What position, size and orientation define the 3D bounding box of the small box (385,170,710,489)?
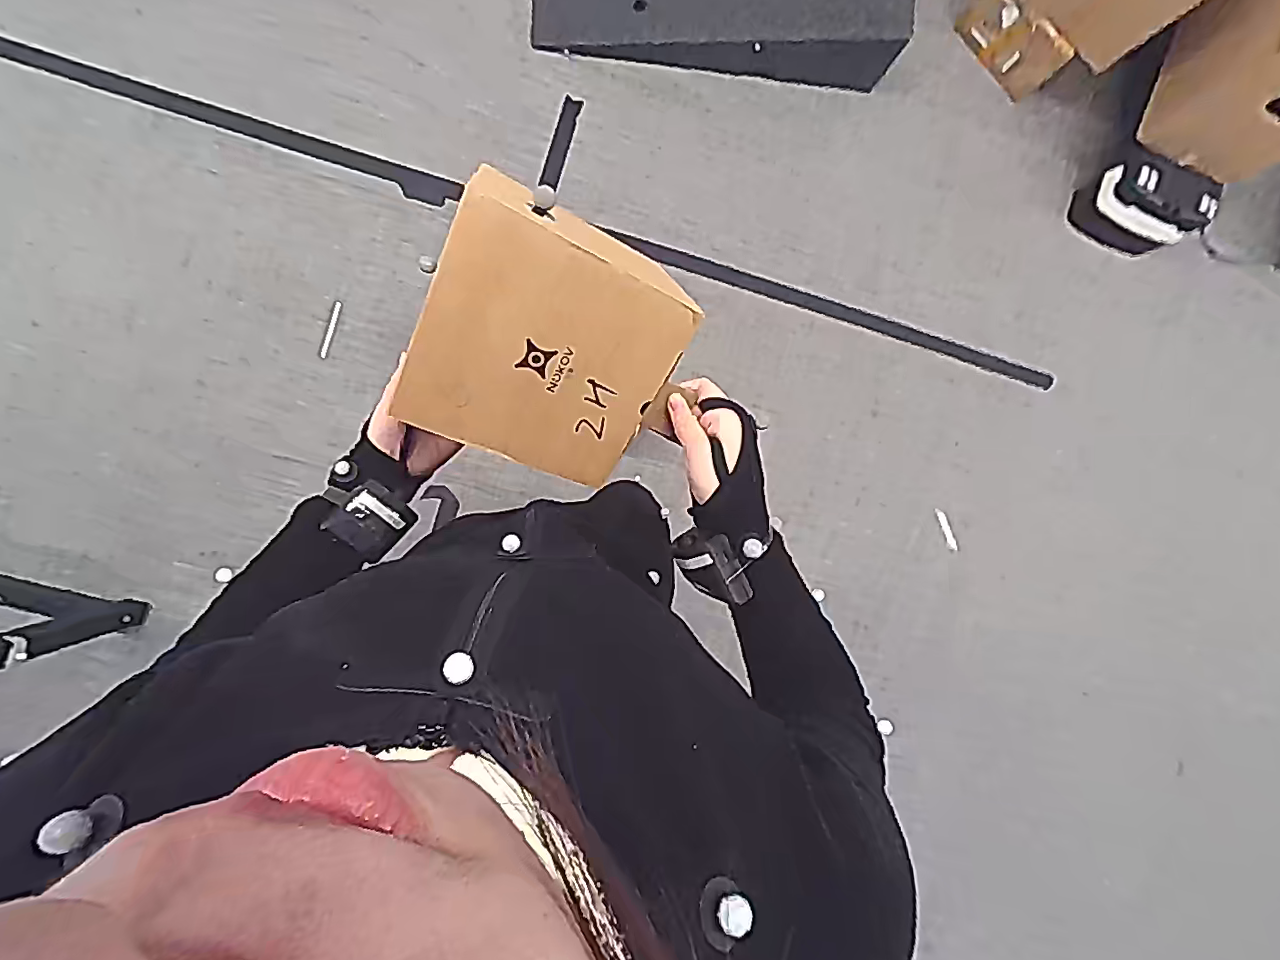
[{"bbox_3d":[-0.078,-0.125,0.438,0.179,0.176,0.168,20,116,-24],"label":"small box"}]
